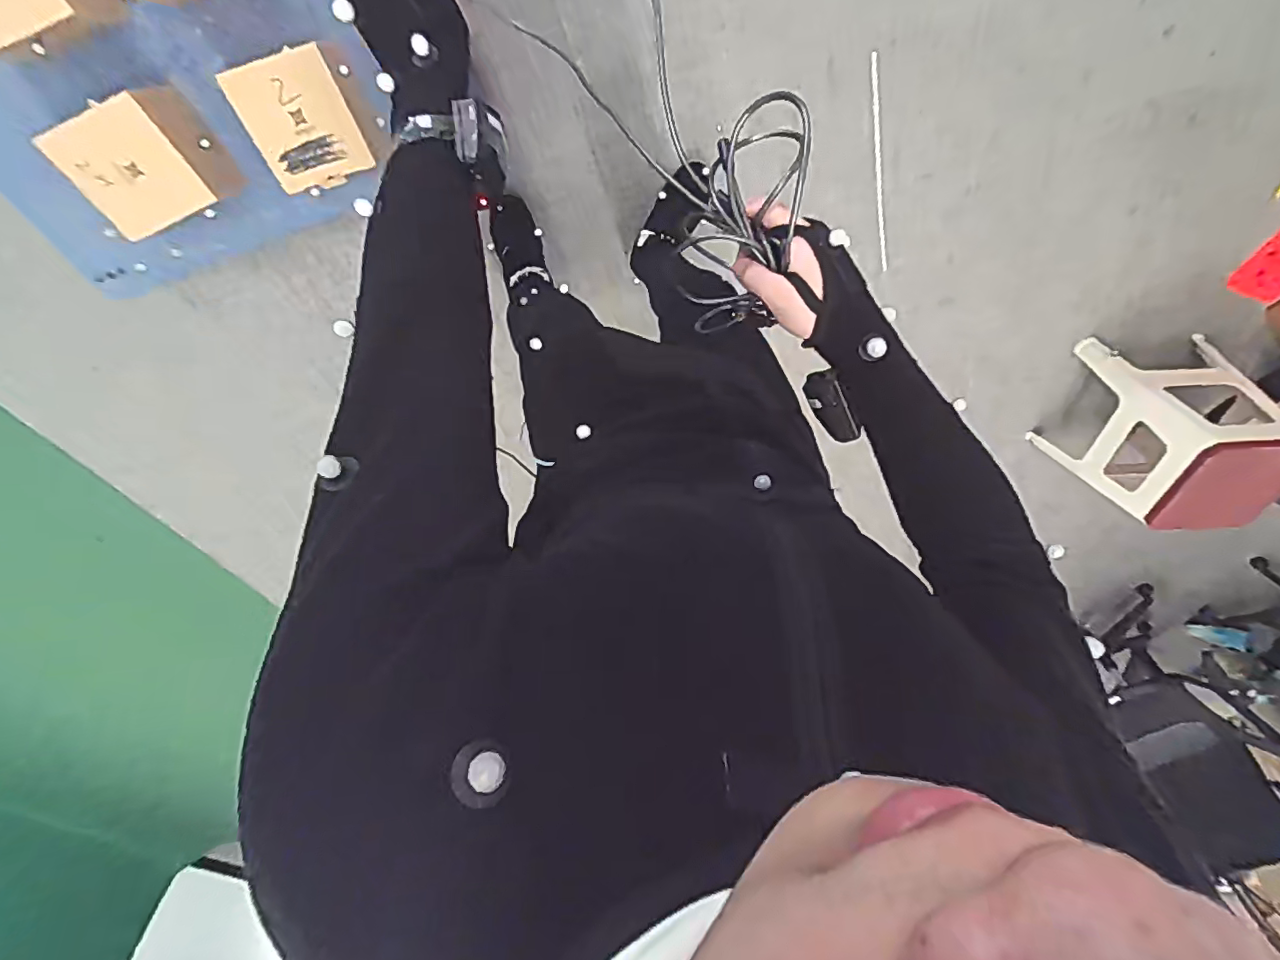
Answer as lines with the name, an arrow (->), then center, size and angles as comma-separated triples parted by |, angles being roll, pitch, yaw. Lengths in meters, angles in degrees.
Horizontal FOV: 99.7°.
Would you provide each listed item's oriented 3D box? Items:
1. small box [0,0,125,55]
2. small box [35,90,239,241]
small box -> -0.911, -0.730, 0.768 | 0.179, 0.176, 0.168 | -22, 131, 2
small box -> -0.842, -0.548, 0.935 | 0.179, 0.176, 0.168 | -23, 130, 3
